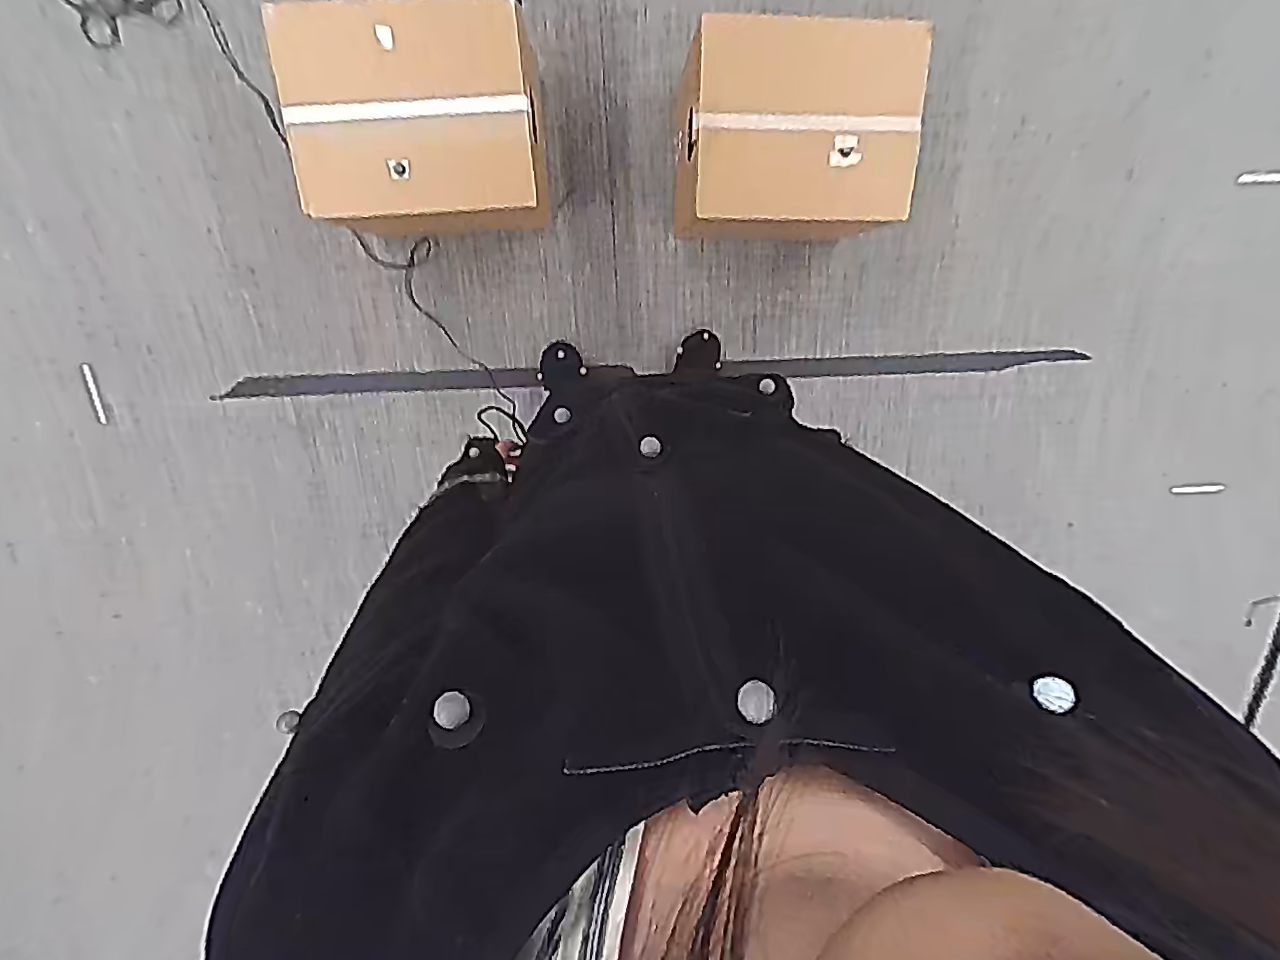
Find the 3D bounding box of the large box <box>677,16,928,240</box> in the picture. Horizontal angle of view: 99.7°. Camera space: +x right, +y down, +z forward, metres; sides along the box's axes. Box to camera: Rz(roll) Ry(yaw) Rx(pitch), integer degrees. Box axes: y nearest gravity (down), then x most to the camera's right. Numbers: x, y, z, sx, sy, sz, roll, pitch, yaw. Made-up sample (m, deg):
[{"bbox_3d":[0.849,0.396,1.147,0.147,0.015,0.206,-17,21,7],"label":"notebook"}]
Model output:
[{"bbox_3d":[0.292,-0.680,1.107,0.408,0.320,0.320,-1,108,-4],"label":"large box"}]
